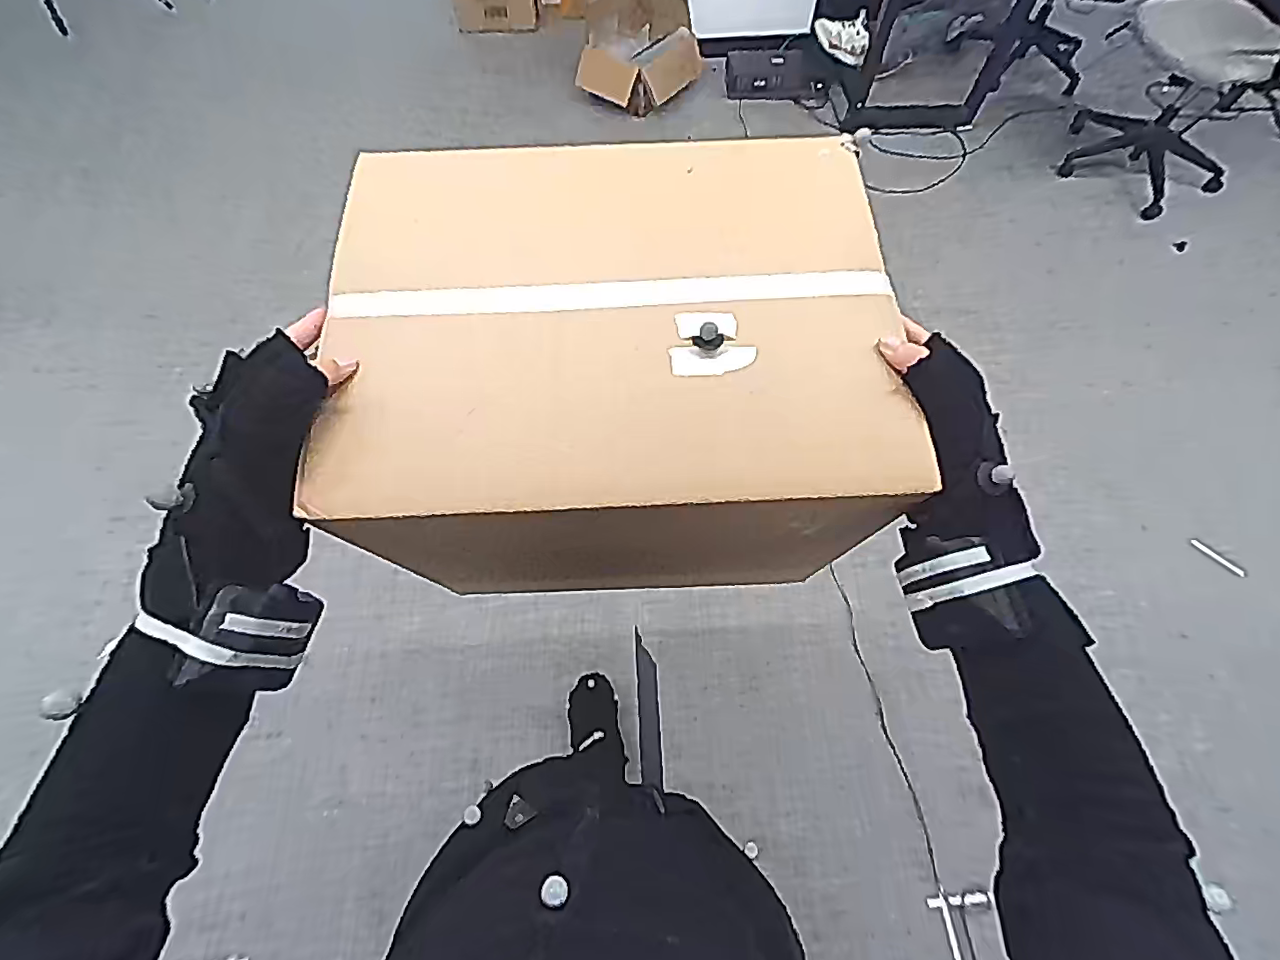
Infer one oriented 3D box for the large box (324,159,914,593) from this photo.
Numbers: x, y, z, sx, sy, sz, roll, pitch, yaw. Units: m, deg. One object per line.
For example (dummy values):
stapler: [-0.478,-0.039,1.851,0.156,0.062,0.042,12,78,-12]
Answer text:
large box: [-0.021,-0.075,0.551,0.408,0.320,0.320,-2,69,-1]
